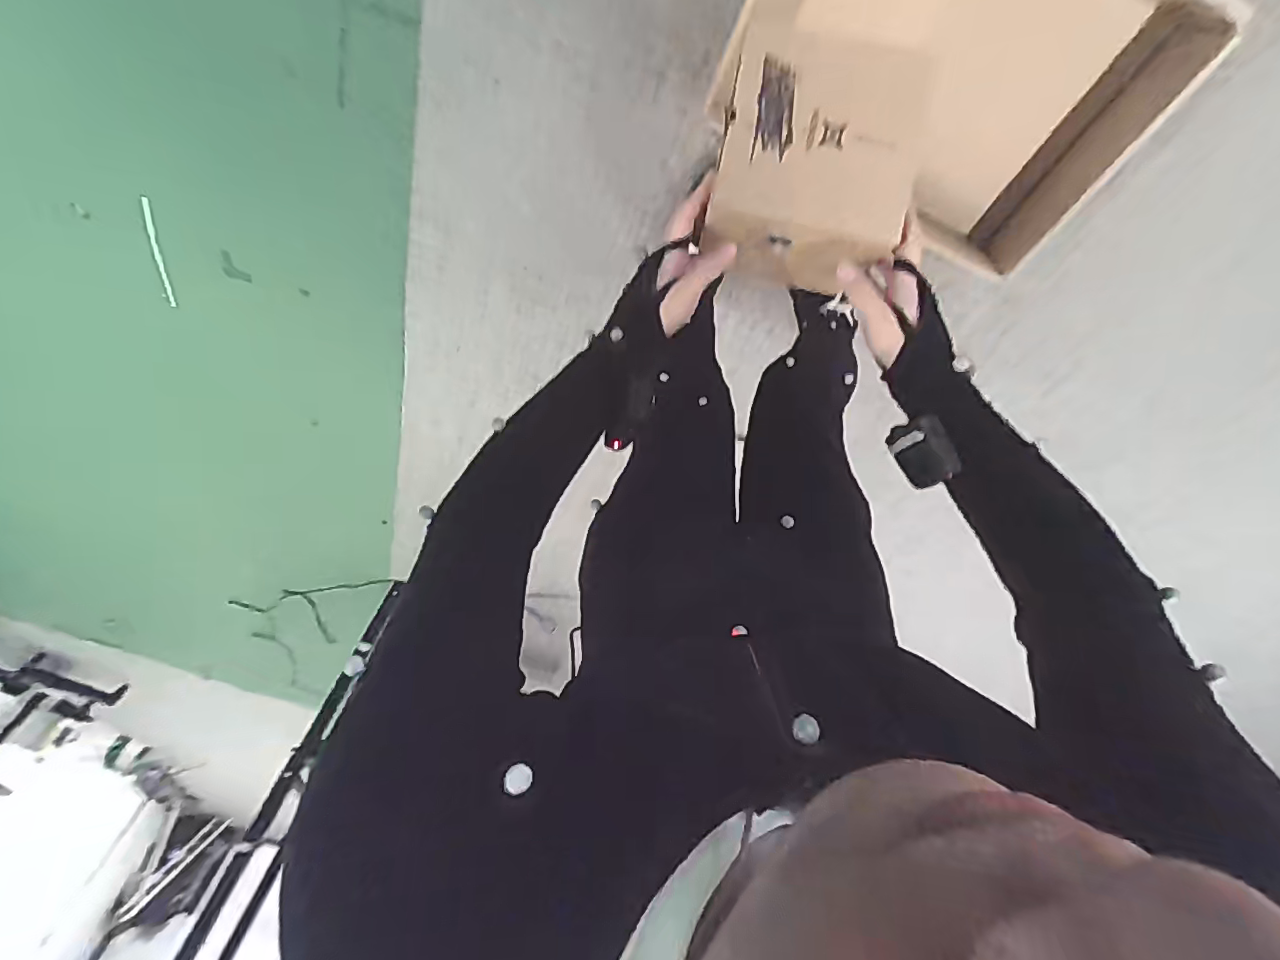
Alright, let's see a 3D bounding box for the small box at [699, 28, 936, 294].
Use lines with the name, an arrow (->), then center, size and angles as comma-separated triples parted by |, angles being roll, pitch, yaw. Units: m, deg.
small box -> 0.161, -0.305, 0.555 | 0.179, 0.176, 0.168 | 11, 94, 2
